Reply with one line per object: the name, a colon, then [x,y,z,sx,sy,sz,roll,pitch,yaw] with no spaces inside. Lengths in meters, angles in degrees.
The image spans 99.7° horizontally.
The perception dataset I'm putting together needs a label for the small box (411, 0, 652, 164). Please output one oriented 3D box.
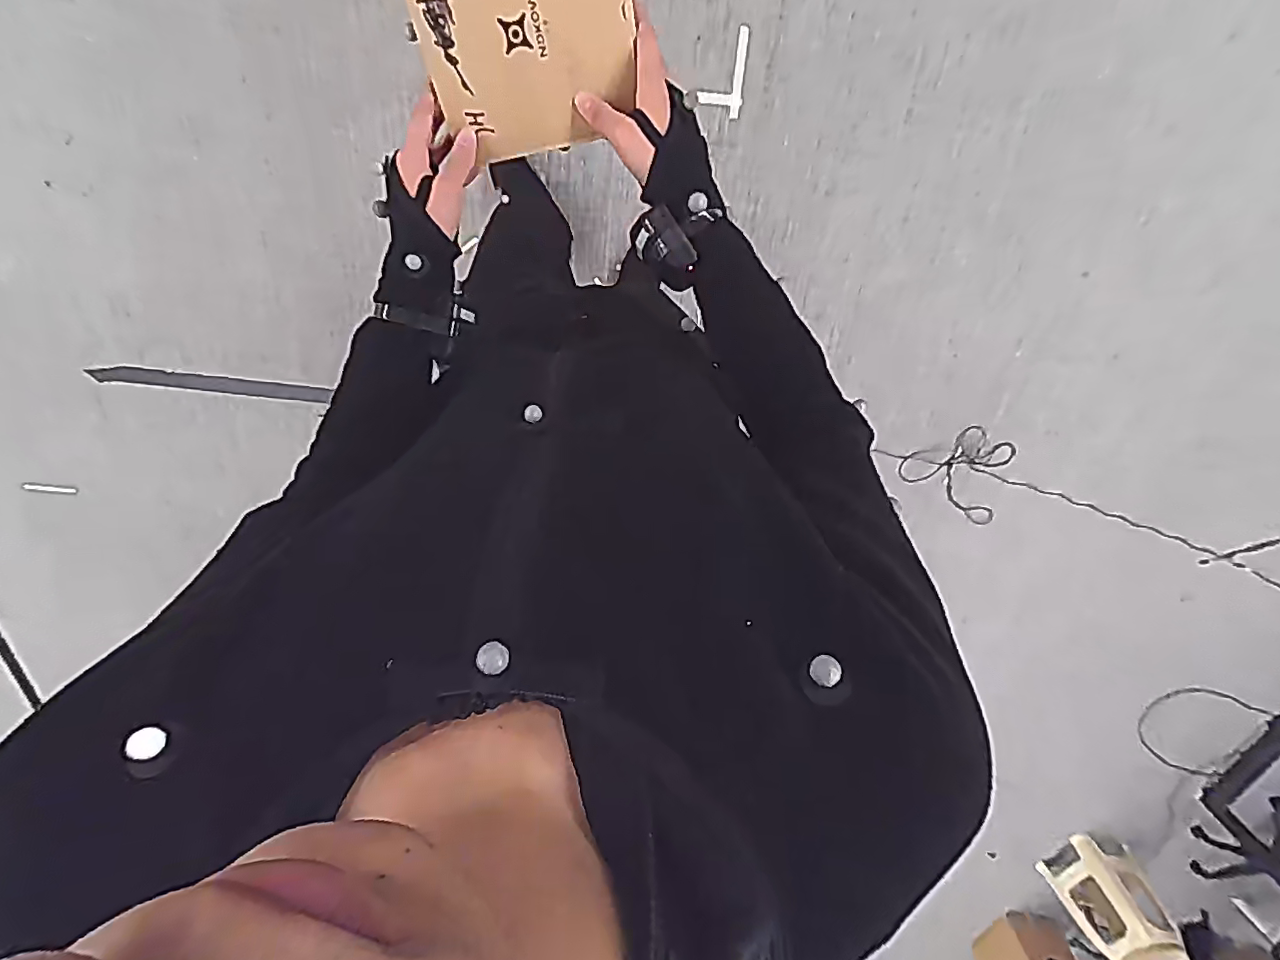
small box: [-0.093,-0.411,0.494,0.179,0.176,0.168,-10,129,3]
